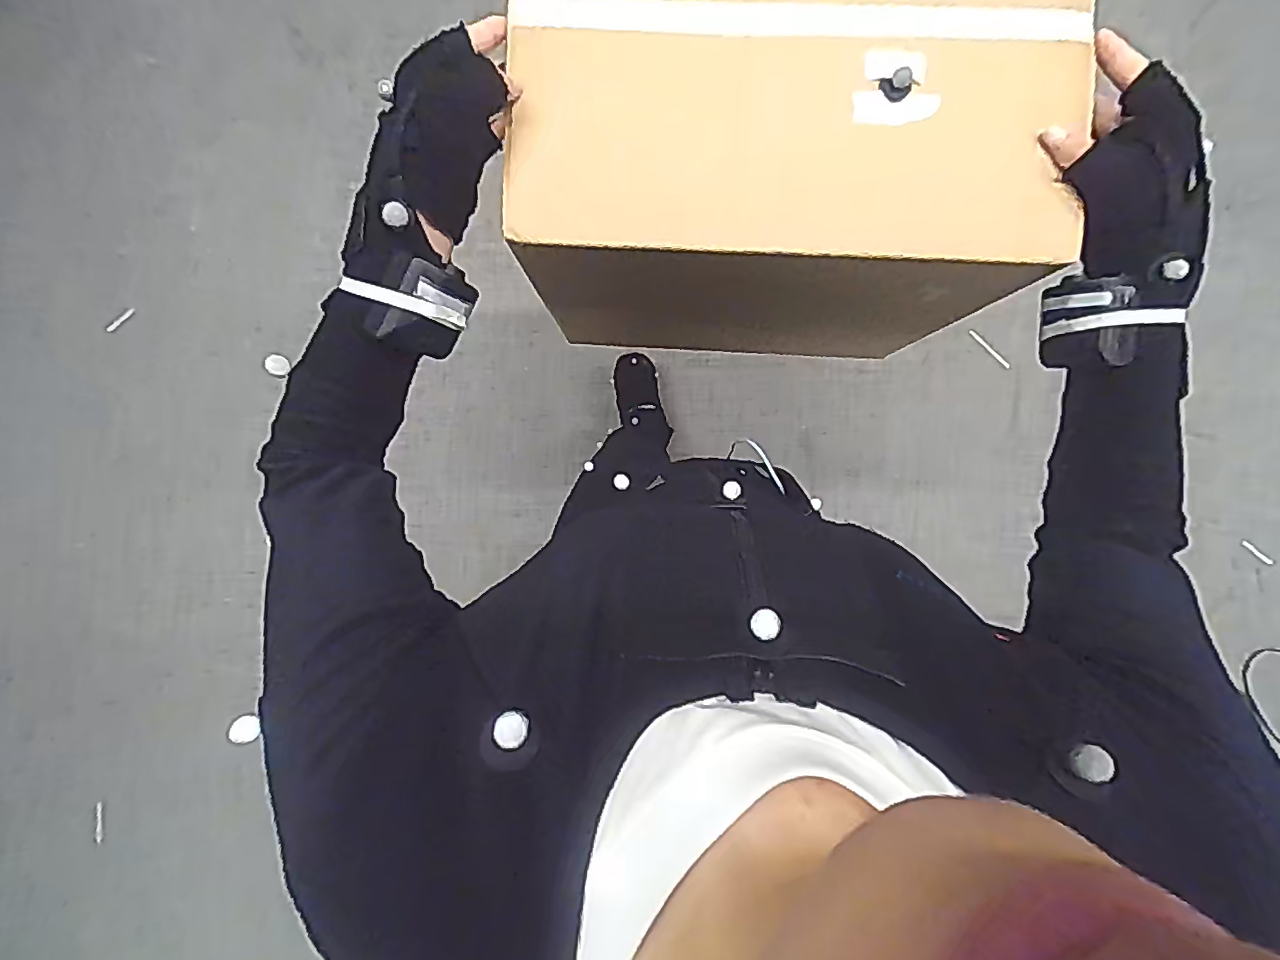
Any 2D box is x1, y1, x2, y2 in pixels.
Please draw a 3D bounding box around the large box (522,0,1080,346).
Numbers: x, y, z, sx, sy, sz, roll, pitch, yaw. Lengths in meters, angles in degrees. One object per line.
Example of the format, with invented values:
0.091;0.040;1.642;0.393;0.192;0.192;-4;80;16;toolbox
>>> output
0.114;-0.325;0.538;0.408;0.320;0.320;2;91;0;large box
